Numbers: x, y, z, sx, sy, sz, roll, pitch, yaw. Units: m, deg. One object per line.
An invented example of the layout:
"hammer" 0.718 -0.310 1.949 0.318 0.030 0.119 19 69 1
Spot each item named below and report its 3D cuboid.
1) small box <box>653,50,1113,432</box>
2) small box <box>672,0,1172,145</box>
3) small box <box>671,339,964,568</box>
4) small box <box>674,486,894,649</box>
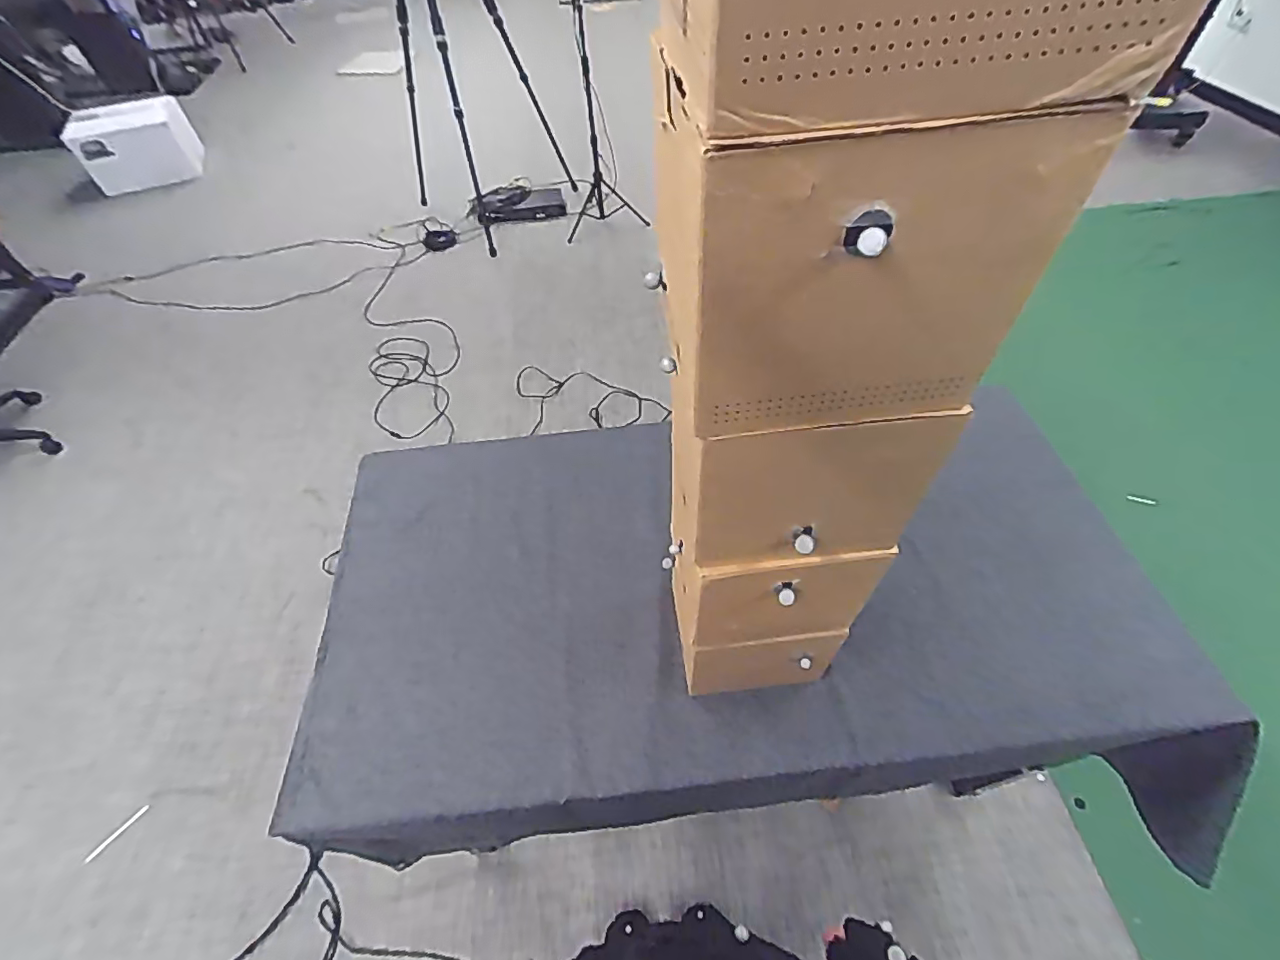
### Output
"small box" 0.106 -0.145 0.330 0.179 0.176 0.168 -6 52 -2
"small box" 0.101 -0.247 0.202 0.179 0.176 0.168 -5 52 1
"small box" 0.121 -0.040 0.456 0.179 0.176 0.168 -5 51 -1
"small box" 0.133 0.066 0.580 0.179 0.176 0.168 -7 51 -2
